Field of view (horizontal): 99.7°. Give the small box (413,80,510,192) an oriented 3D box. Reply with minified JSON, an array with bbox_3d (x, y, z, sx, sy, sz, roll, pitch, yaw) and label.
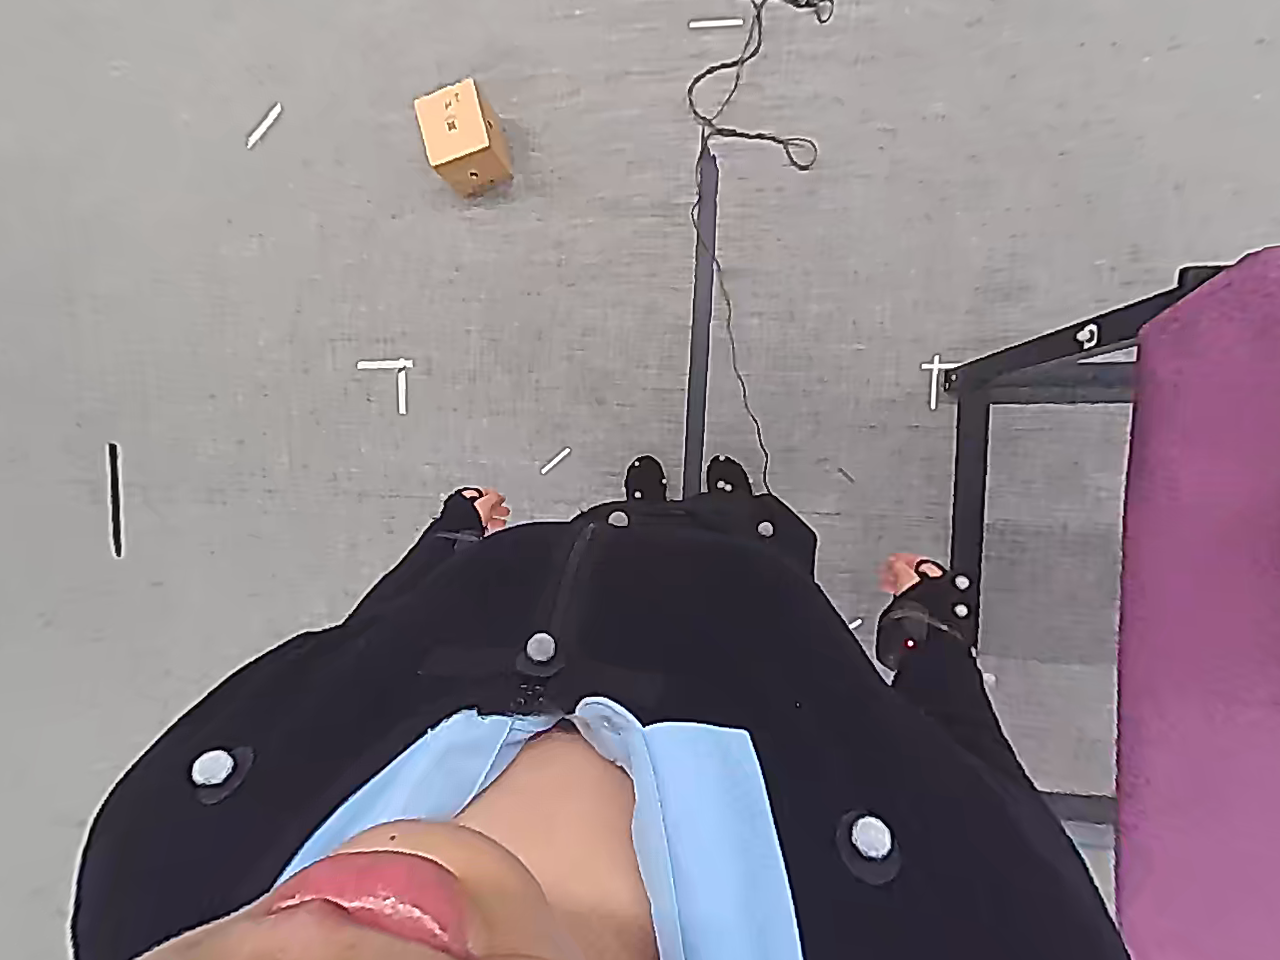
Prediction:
[{"bbox_3d":[-0.460,-0.890,1.424,0.168,0.176,0.179,-14,91,8],"label":"small box"}]

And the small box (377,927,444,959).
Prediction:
[{"bbox_3d":[-0.709,1.479,1.585,0.179,0.176,0.168,28,96,6],"label":"small box"}]
